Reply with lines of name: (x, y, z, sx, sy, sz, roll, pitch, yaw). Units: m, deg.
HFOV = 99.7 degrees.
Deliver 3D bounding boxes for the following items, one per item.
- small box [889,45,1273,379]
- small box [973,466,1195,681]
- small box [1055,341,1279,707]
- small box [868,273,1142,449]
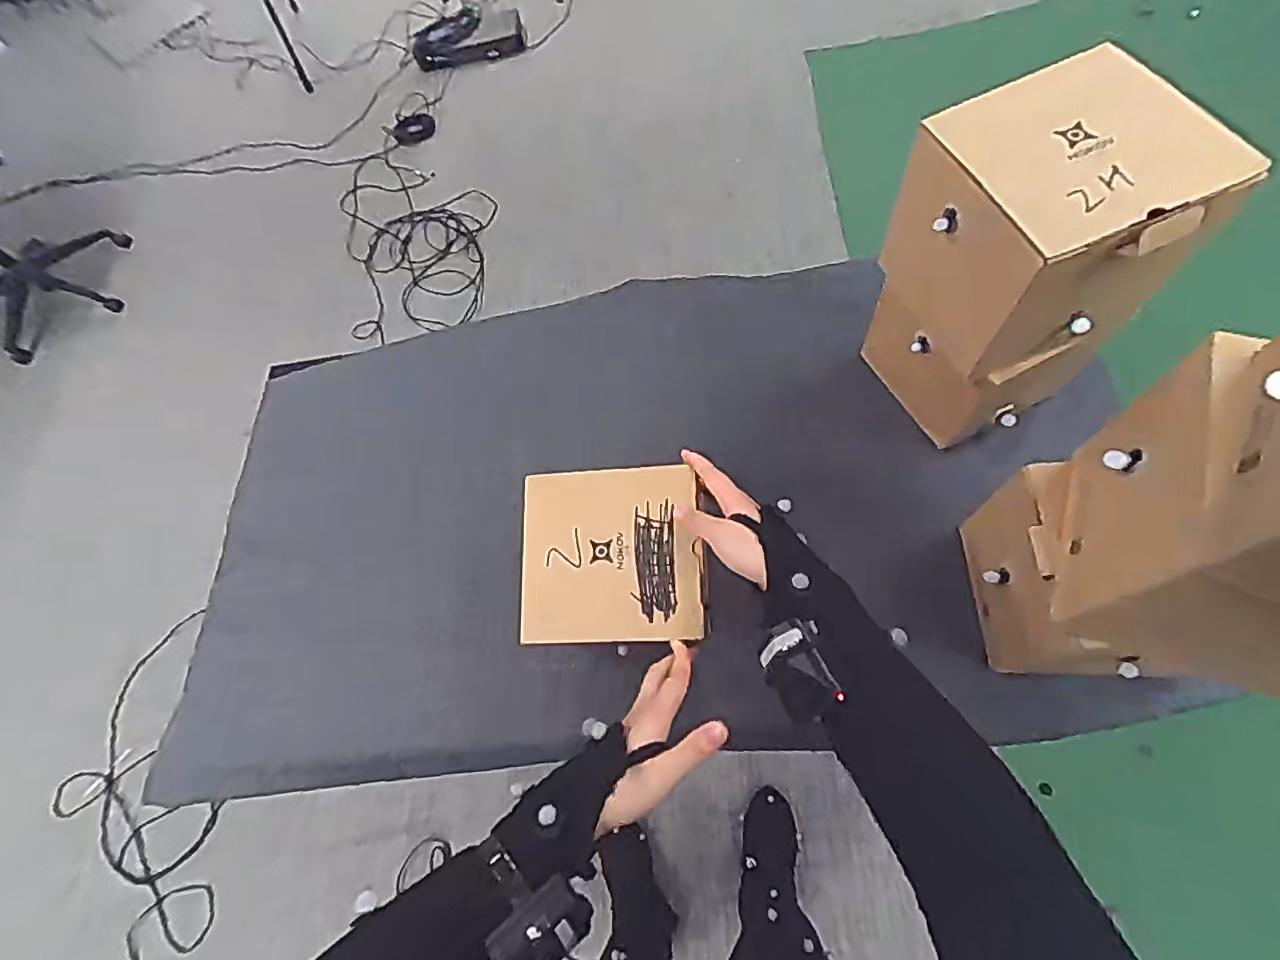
small box: (0.351, -0.224, 0.484, 0.168, 0.176, 0.179, -22, 67, 4)
small box: (0.442, 0.095, 0.511, 0.179, 0.176, 0.168, -2, 65, 10)
small box: (0.419, 0.041, 0.358, 0.179, 0.176, 0.168, 19, 69, 17)
small box: (0.396, -0.166, 0.632, 0.168, 0.176, 0.179, -27, 67, 1)
